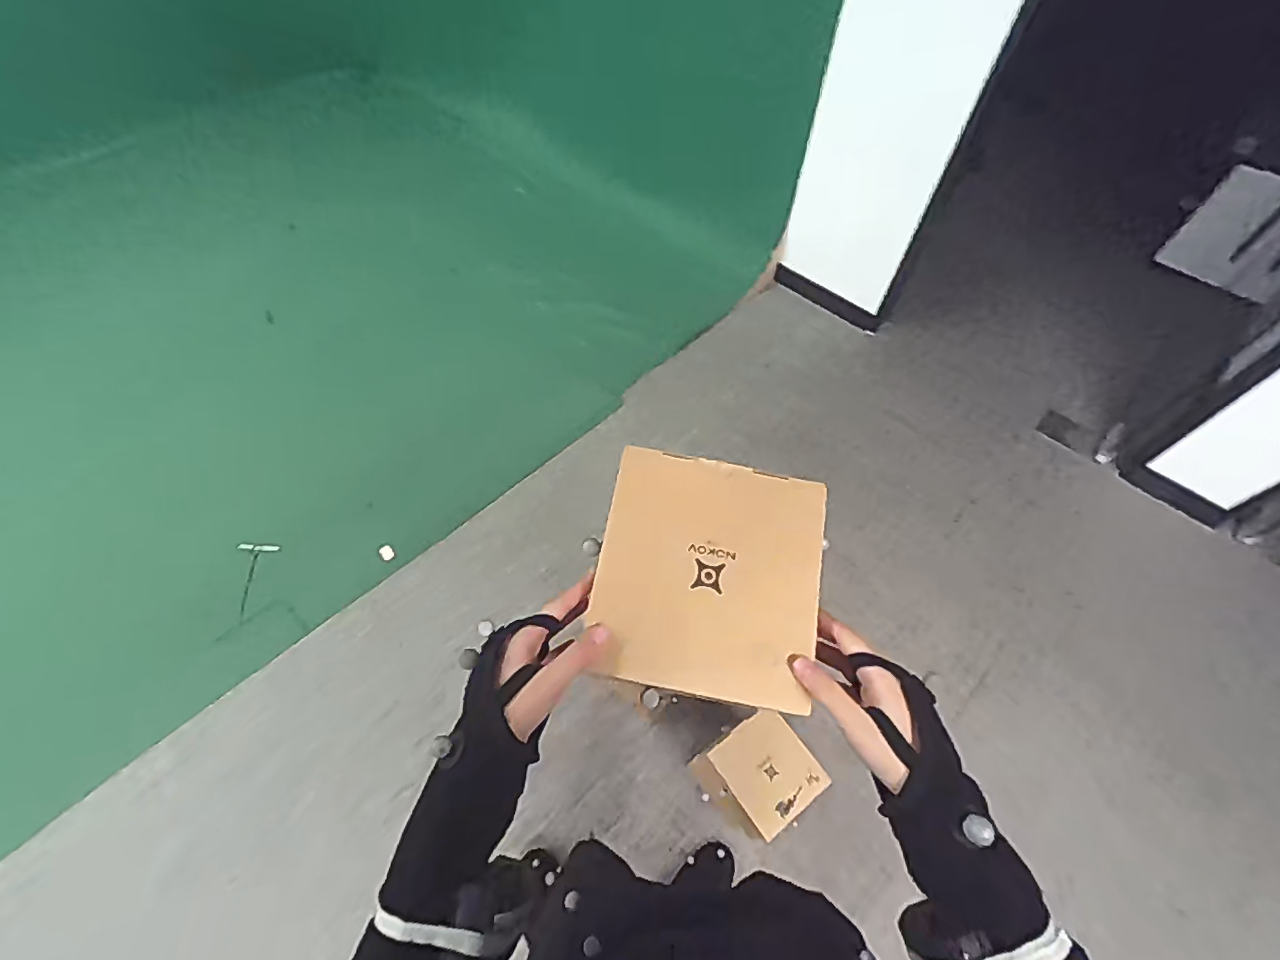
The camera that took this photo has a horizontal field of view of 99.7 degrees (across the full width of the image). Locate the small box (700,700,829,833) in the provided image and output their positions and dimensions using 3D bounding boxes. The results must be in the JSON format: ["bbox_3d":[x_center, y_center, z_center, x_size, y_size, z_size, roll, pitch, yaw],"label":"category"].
[{"bbox_3d":[0.236,0.573,1.079,0.168,0.176,0.179,-30,61,-18],"label":"small box"}]

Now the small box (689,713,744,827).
[{"bbox_3d":[0.227,0.650,1.226,0.179,0.176,0.168,-31,62,-18],"label":"small box"}]

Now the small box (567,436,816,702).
[{"bbox_3d":[0.041,0.087,0.475,0.168,0.176,0.179,11,68,1],"label":"small box"}]
